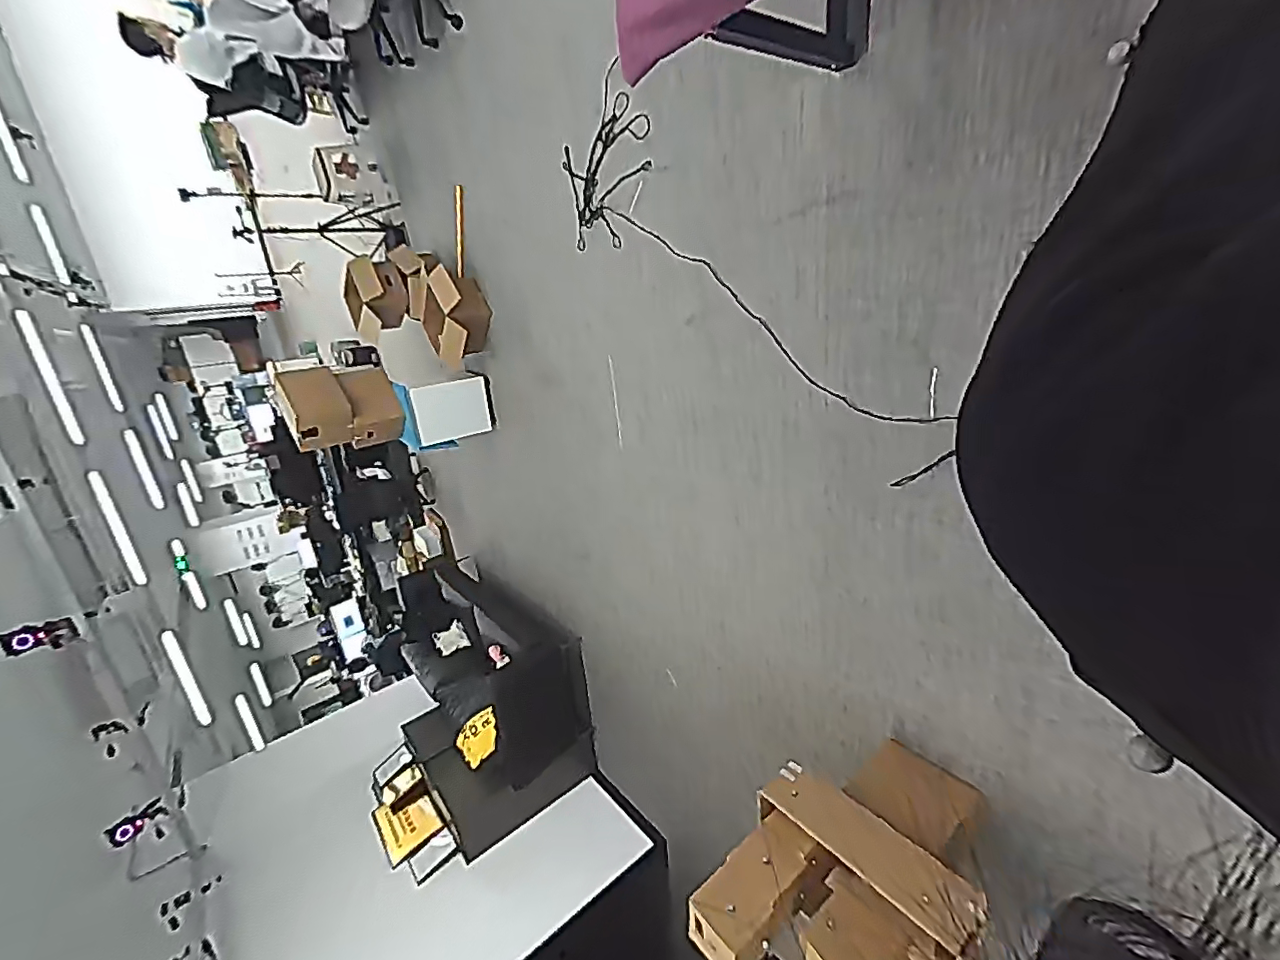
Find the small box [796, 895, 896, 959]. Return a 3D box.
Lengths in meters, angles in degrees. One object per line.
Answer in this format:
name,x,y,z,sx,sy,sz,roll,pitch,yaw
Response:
small box,0.545,1.261,1.440,0.179,0.176,0.168,30,130,48

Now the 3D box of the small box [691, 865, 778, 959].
small box,0.264,1.241,1.528,0.179,0.176,0.168,23,124,47
